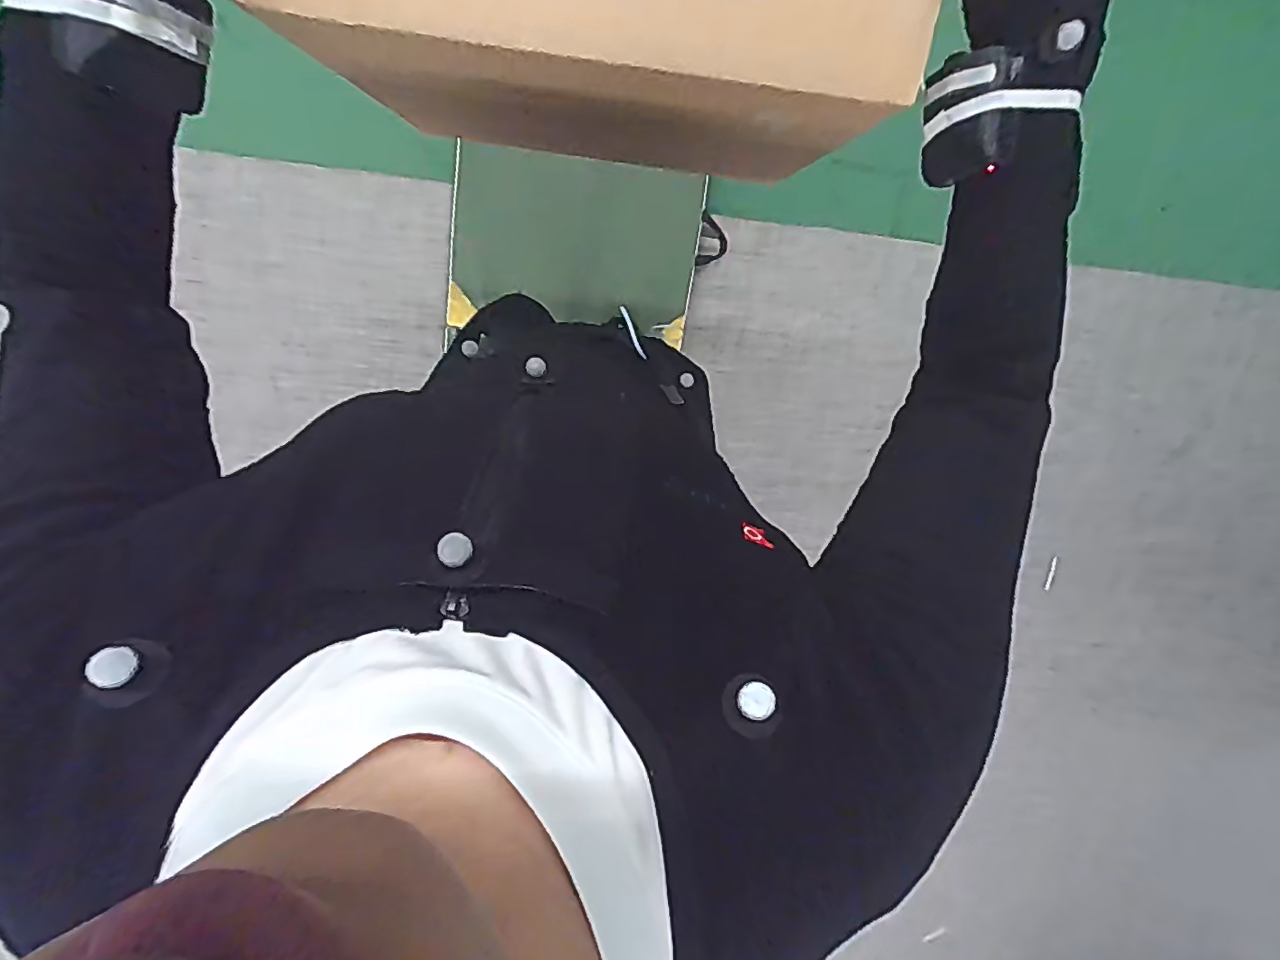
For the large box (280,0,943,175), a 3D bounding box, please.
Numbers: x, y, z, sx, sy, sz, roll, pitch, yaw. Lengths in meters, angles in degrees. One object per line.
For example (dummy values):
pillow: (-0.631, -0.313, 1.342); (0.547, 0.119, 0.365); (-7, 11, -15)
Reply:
large box: (-0.011, -0.454, 0.414); (0.408, 0.320, 0.320); (5, 111, -5)
